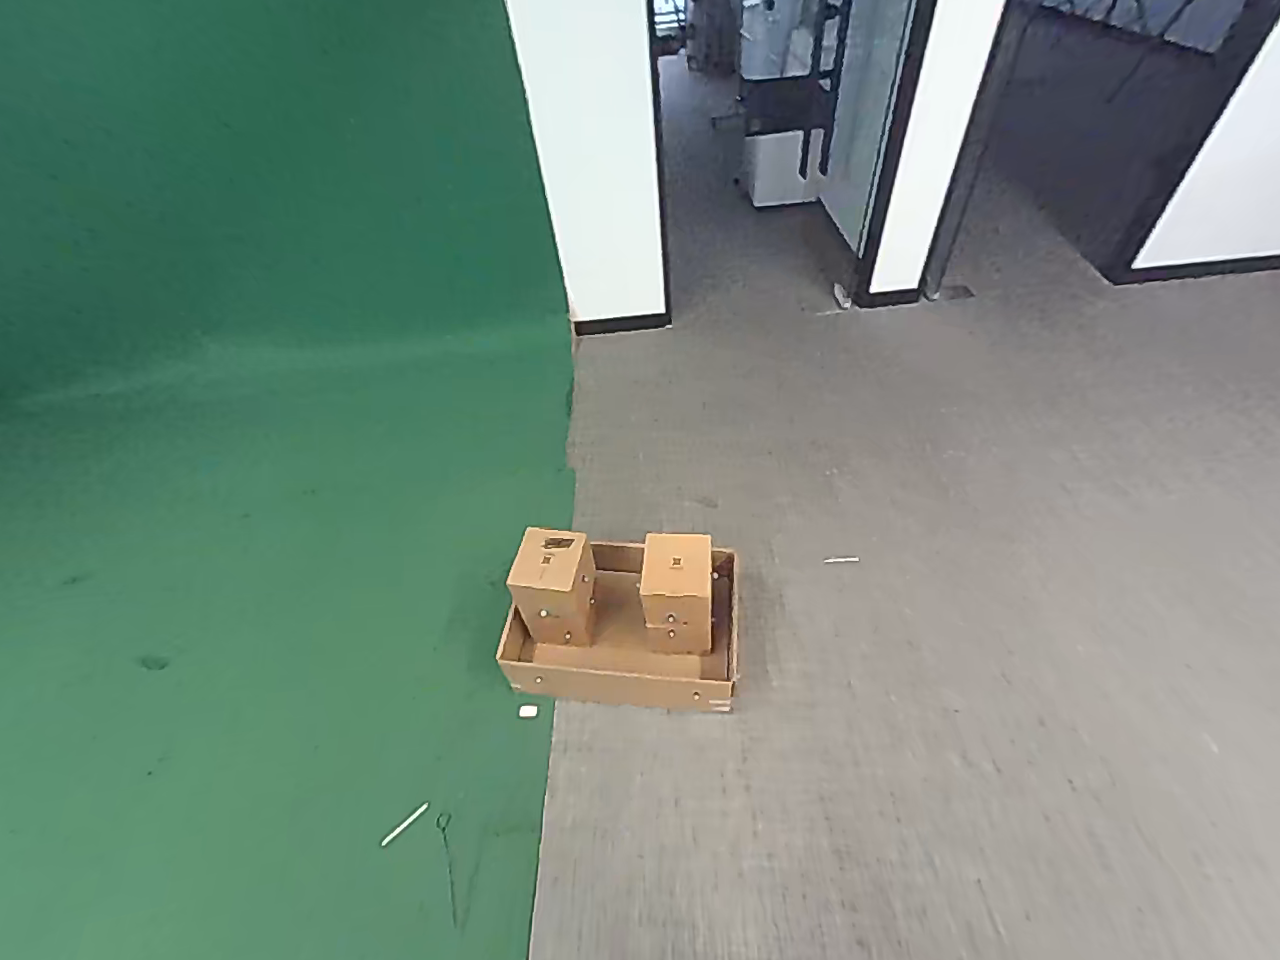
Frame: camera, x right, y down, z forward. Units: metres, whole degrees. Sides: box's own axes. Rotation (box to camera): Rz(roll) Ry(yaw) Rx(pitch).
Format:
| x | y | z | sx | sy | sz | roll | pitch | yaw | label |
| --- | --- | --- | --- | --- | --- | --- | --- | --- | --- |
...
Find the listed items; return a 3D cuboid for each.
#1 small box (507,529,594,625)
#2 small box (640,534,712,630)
| x | y | z | sx | sy | sz | roll | pitch | yaw | label |
| --- | --- | --- | --- | --- | --- | --- | --- | --- | --- |
| -0.224 | 0.253 | 1.414 | 0.168 | 0.176 | 0.179 | 5 | 50 | 11 | small box |
| 0.097 | 0.258 | 1.368 | 0.168 | 0.176 | 0.179 | 1 | 49 | 9 | small box |
